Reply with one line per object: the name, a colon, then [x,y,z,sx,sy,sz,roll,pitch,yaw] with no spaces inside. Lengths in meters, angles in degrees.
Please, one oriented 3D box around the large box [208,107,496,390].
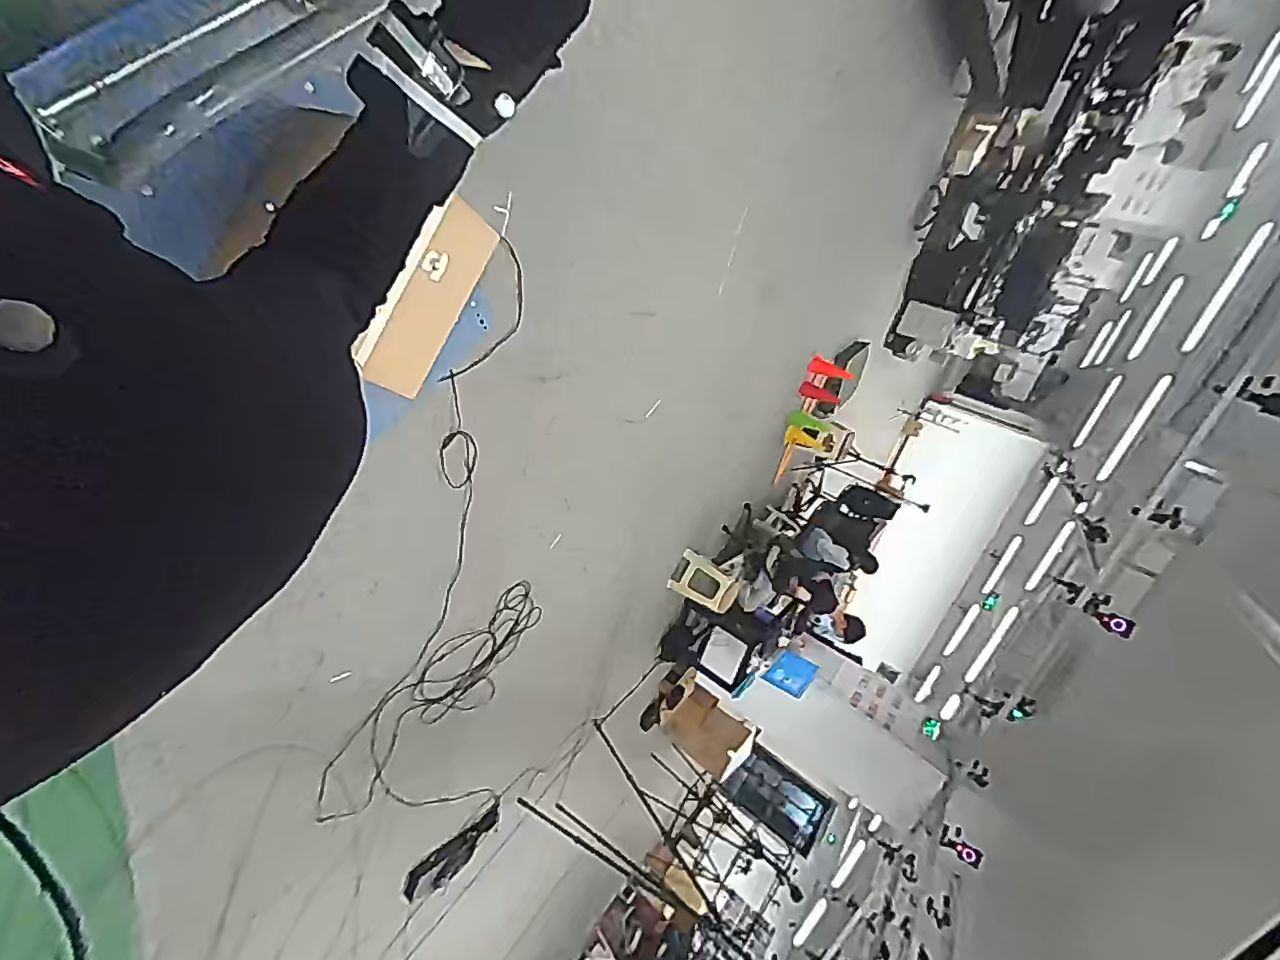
large box: [-0.579,-0.459,1.107,0.408,0.320,0.320,-62,152,0]
